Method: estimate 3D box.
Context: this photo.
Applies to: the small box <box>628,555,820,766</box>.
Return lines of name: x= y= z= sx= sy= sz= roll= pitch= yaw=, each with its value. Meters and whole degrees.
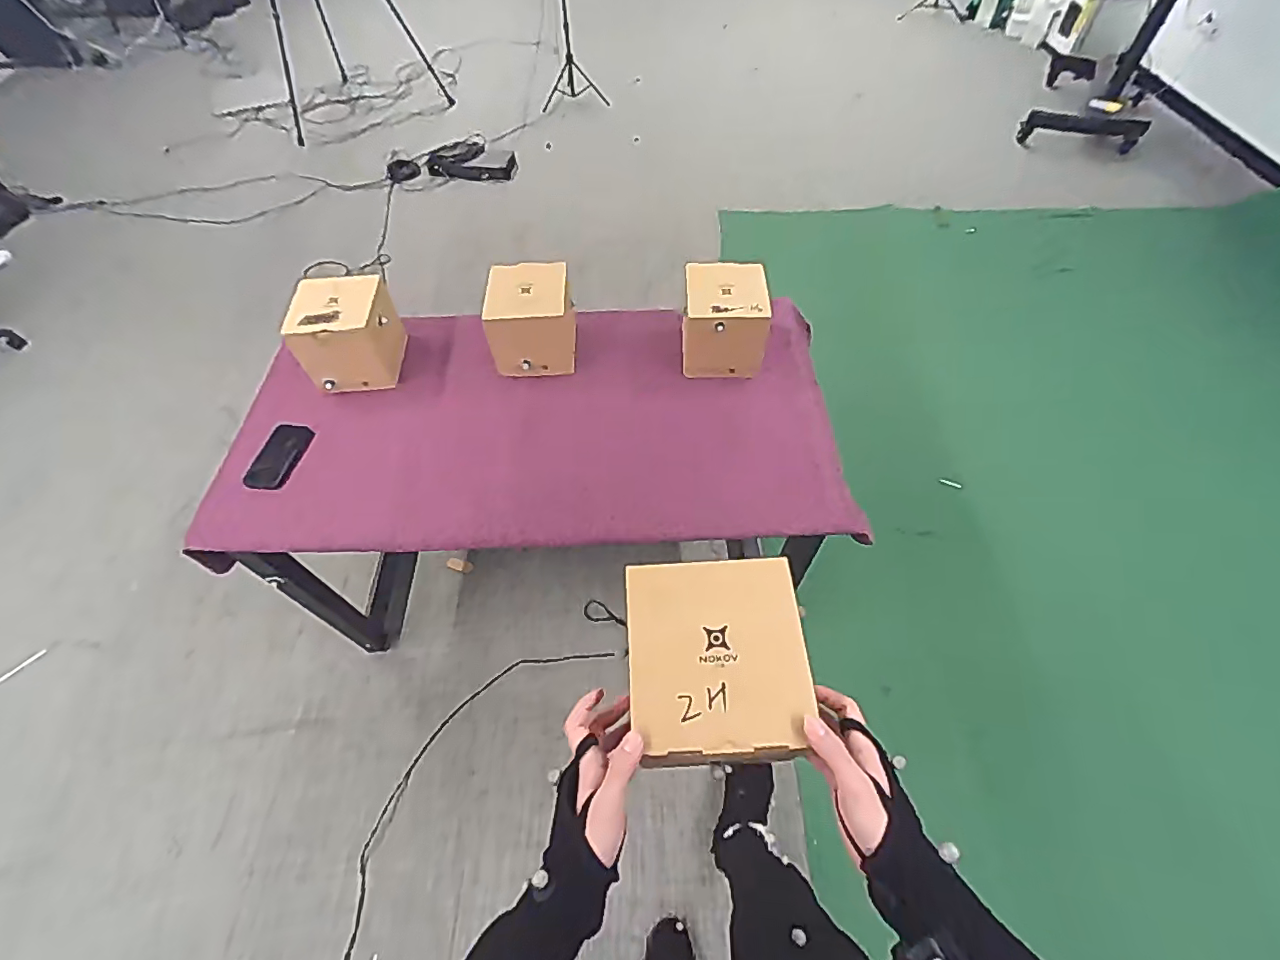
small box: x=0.072 y=0.194 z=0.569 sx=0.168 sy=0.176 sz=0.179 roll=-3 pitch=58 yaw=2

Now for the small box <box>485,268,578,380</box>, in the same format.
small box: x=-0.228 y=-0.339 z=1.183 sx=0.168 sy=0.176 sz=0.179 roll=-2 pitch=56 yaw=0

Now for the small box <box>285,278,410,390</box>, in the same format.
small box: x=-0.615 y=-0.307 z=1.164 sx=0.168 sy=0.176 sz=0.179 roll=-4 pitch=55 yaw=-3

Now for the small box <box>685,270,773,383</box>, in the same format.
small box: x=0.183 y=-0.331 z=1.169 sx=0.168 sy=0.176 sz=0.179 roll=0 pitch=55 yaw=2
